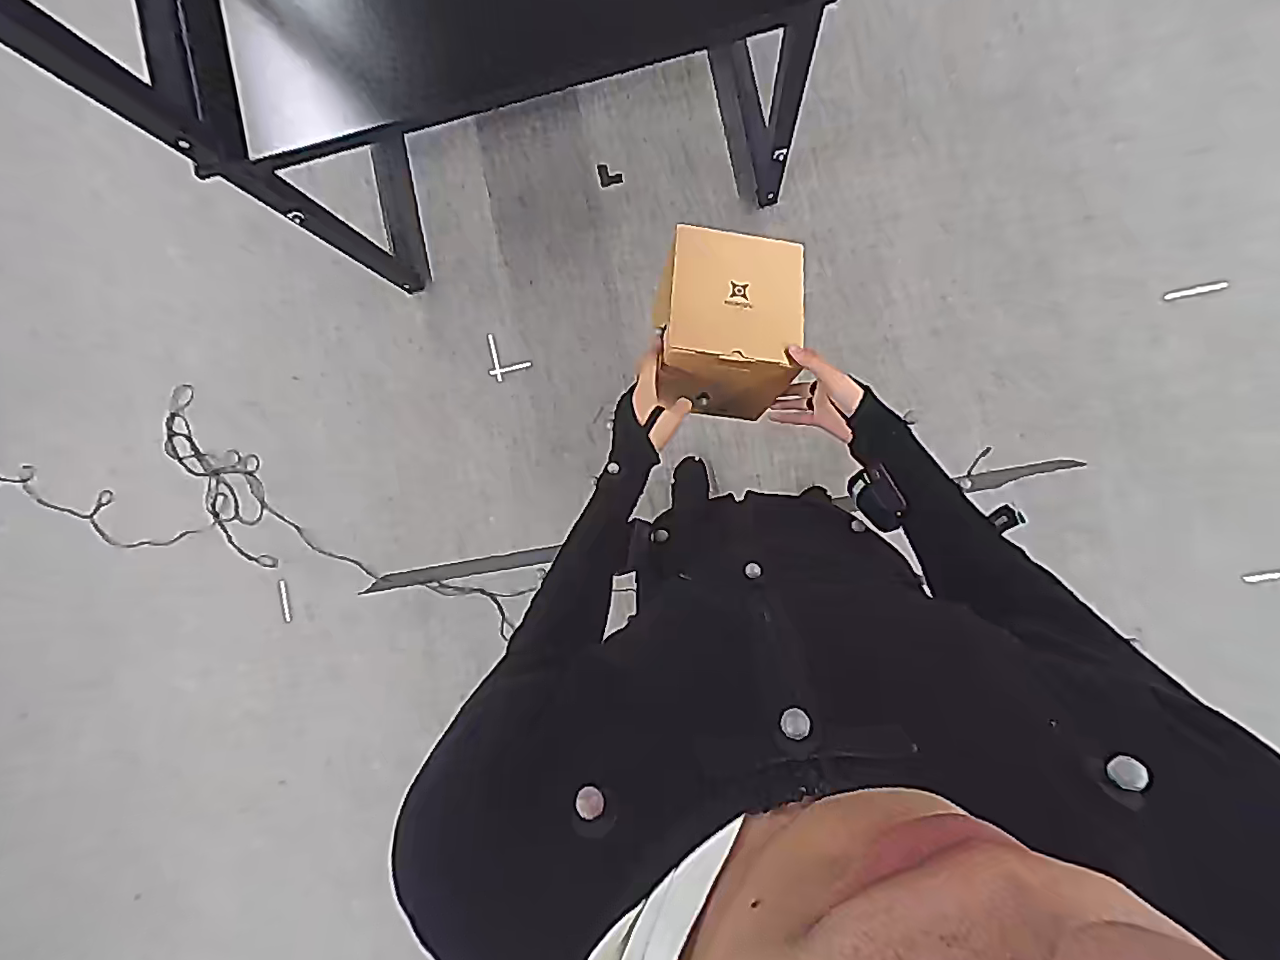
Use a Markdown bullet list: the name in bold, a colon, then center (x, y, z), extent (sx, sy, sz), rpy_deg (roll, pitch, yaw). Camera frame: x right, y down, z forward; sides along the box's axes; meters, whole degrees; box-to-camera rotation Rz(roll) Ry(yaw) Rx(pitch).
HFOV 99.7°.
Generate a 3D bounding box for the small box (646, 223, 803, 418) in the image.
- **small box**: center (0.104, -0.202, 0.723), extent (0.168, 0.176, 0.179), rpy_deg (6, 74, -7)
